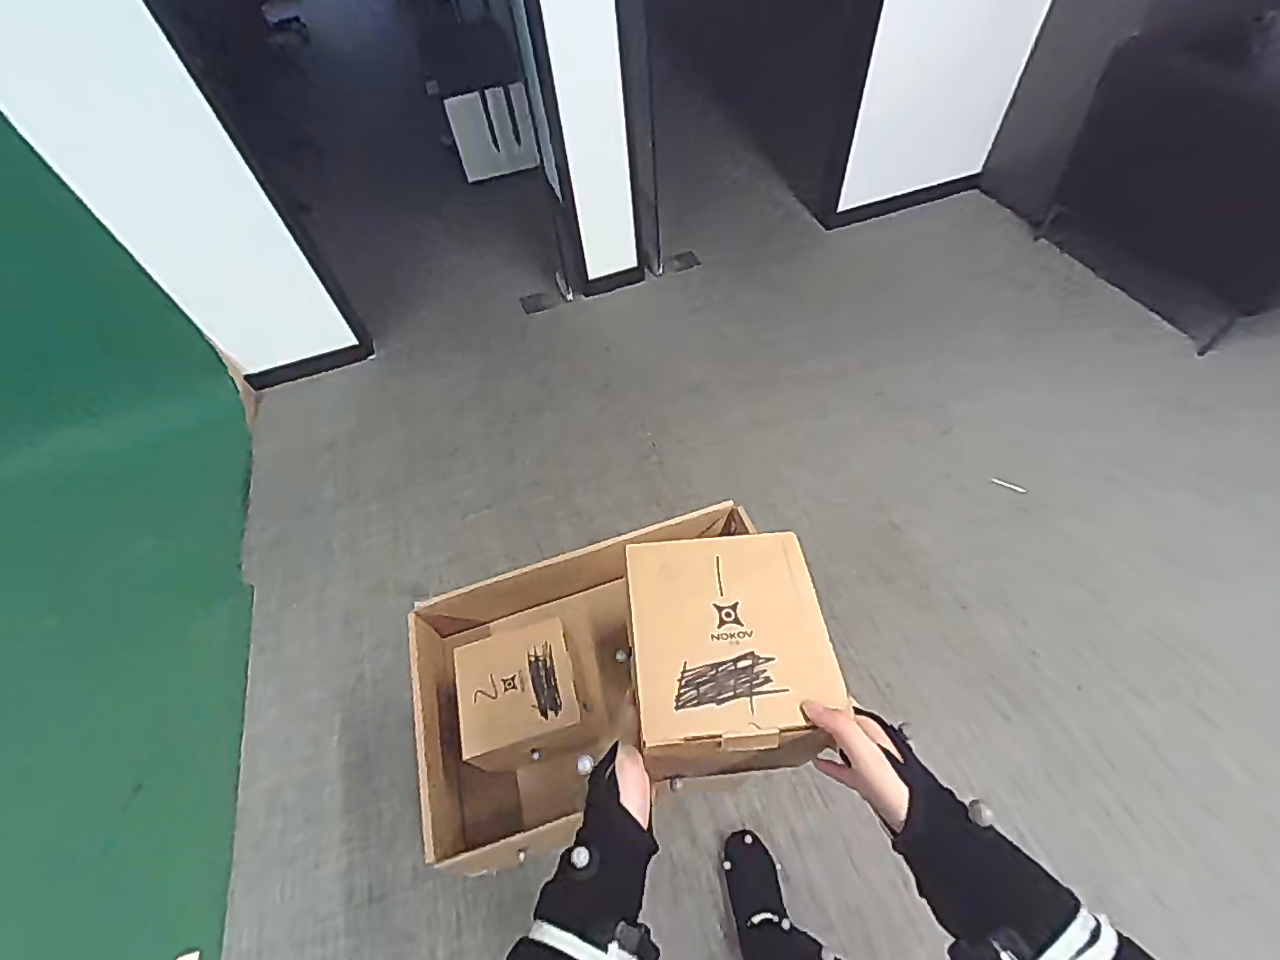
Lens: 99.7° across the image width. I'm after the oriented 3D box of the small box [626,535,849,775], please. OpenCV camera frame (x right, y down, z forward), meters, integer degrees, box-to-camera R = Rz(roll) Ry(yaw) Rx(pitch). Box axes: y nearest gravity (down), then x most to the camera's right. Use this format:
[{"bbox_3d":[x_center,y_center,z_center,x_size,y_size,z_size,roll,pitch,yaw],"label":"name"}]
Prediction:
[{"bbox_3d":[0.075,0.175,0.527,0.168,0.176,0.179,-4,51,-4],"label":"small box"}]
